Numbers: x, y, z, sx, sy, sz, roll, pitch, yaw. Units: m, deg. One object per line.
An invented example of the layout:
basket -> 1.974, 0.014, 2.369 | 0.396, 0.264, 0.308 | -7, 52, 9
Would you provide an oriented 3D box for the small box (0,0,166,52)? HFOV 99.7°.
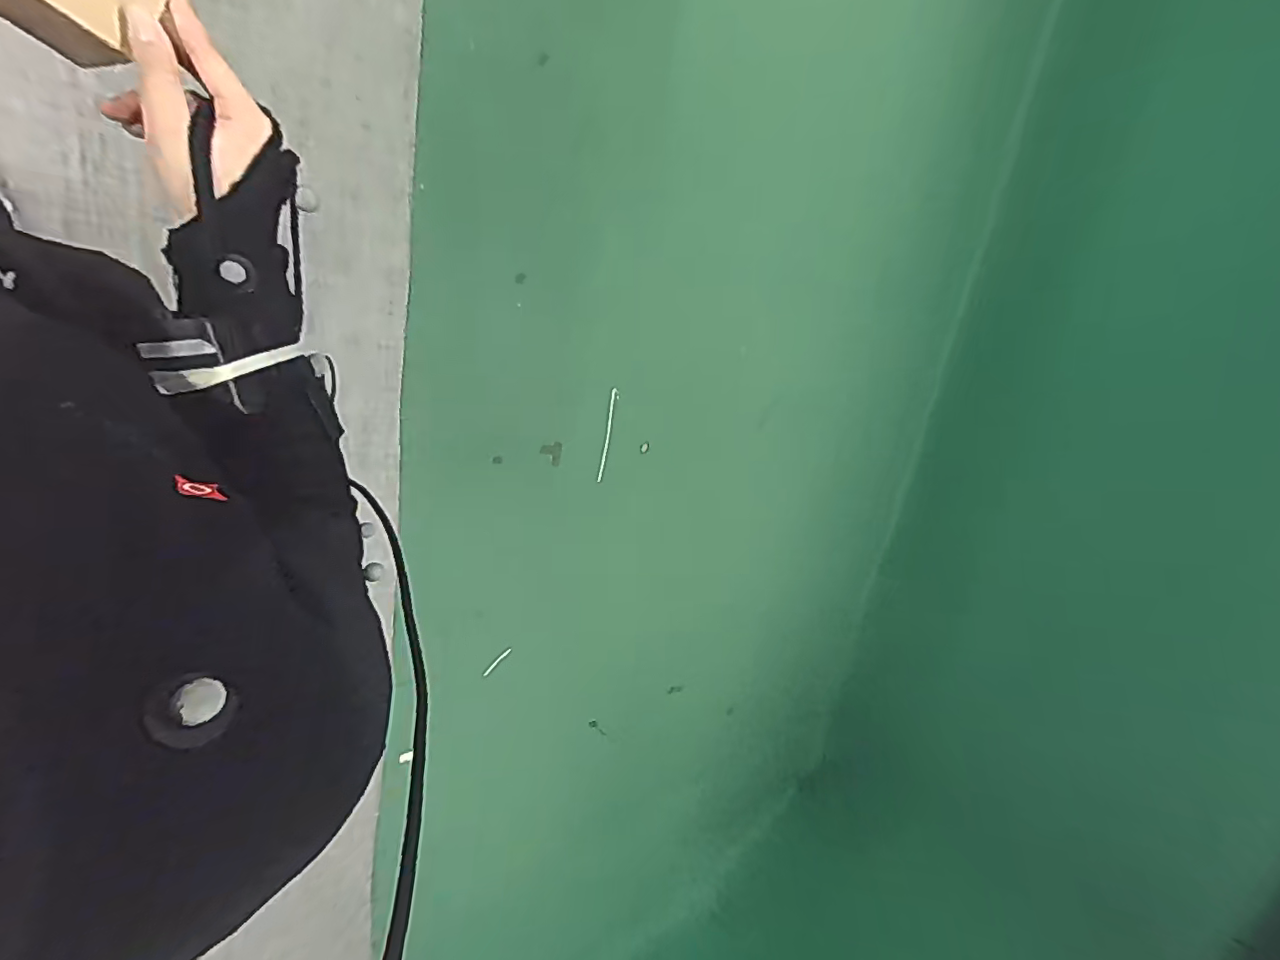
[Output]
small box -> -0.325, -0.354, 0.260 | 0.168, 0.176, 0.179 | 24, 94, -57
